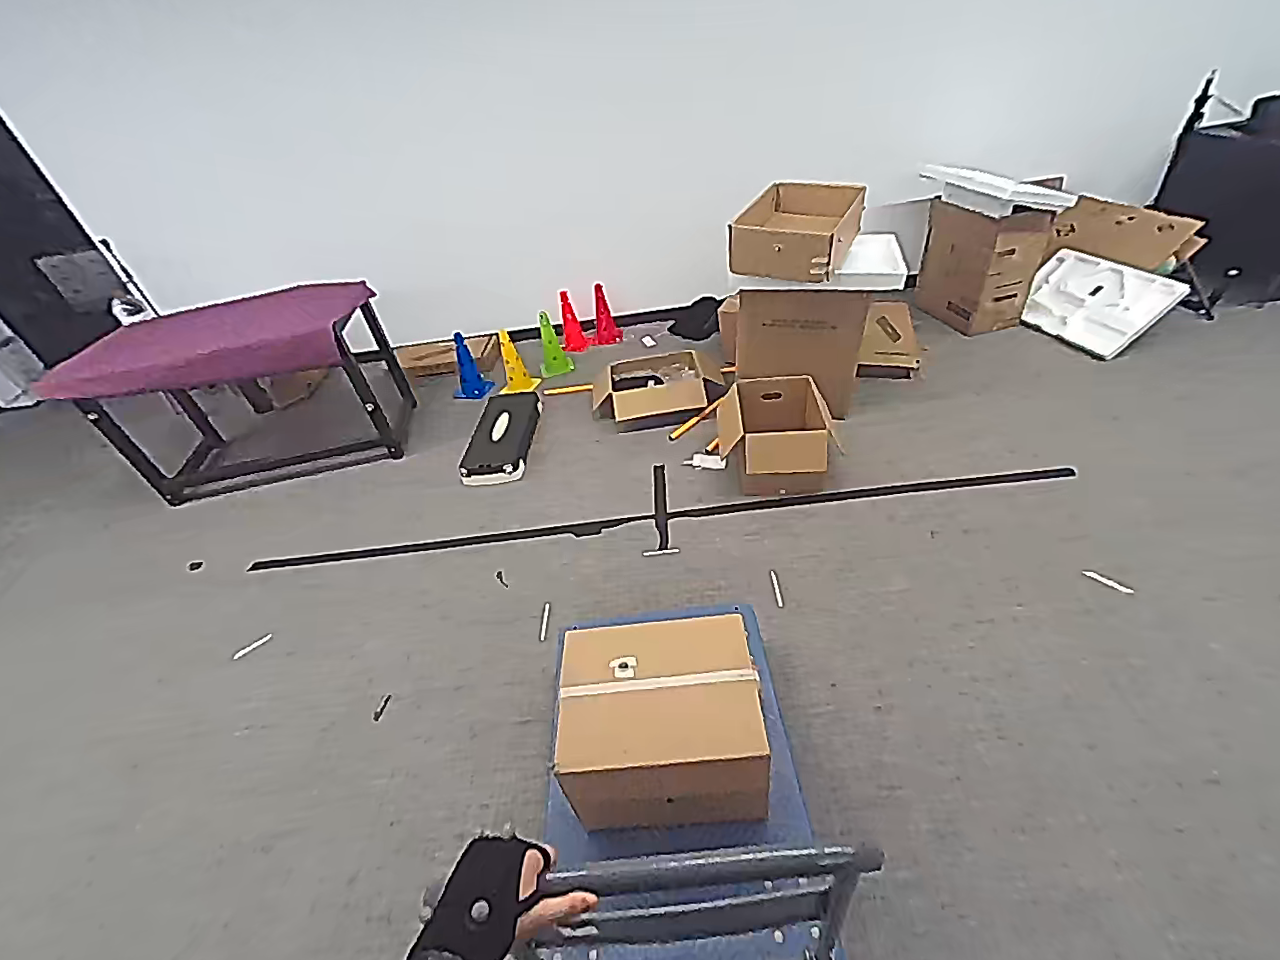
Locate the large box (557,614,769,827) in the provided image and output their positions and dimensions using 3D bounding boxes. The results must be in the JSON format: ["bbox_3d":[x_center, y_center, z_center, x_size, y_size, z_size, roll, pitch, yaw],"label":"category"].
[{"bbox_3d":[0.056,0.541,1.215,0.408,0.320,0.320,-8,38,4],"label":"large box"}]
